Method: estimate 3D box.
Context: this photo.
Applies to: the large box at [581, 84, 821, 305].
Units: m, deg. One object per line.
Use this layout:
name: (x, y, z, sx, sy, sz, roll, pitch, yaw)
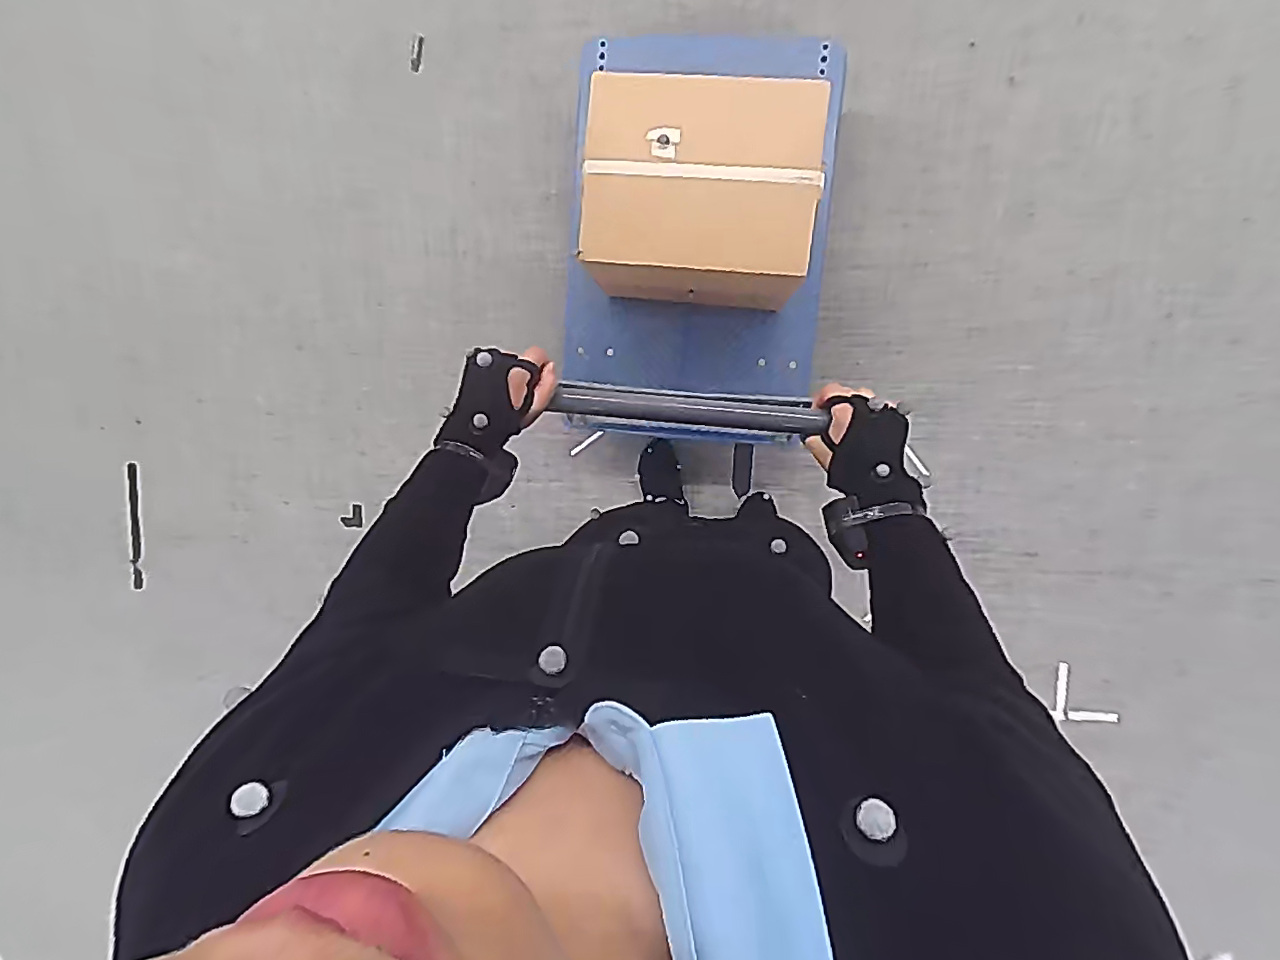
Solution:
large box: (0.119, -0.547, 1.095, 0.408, 0.320, 0.320, 6, 97, 6)
